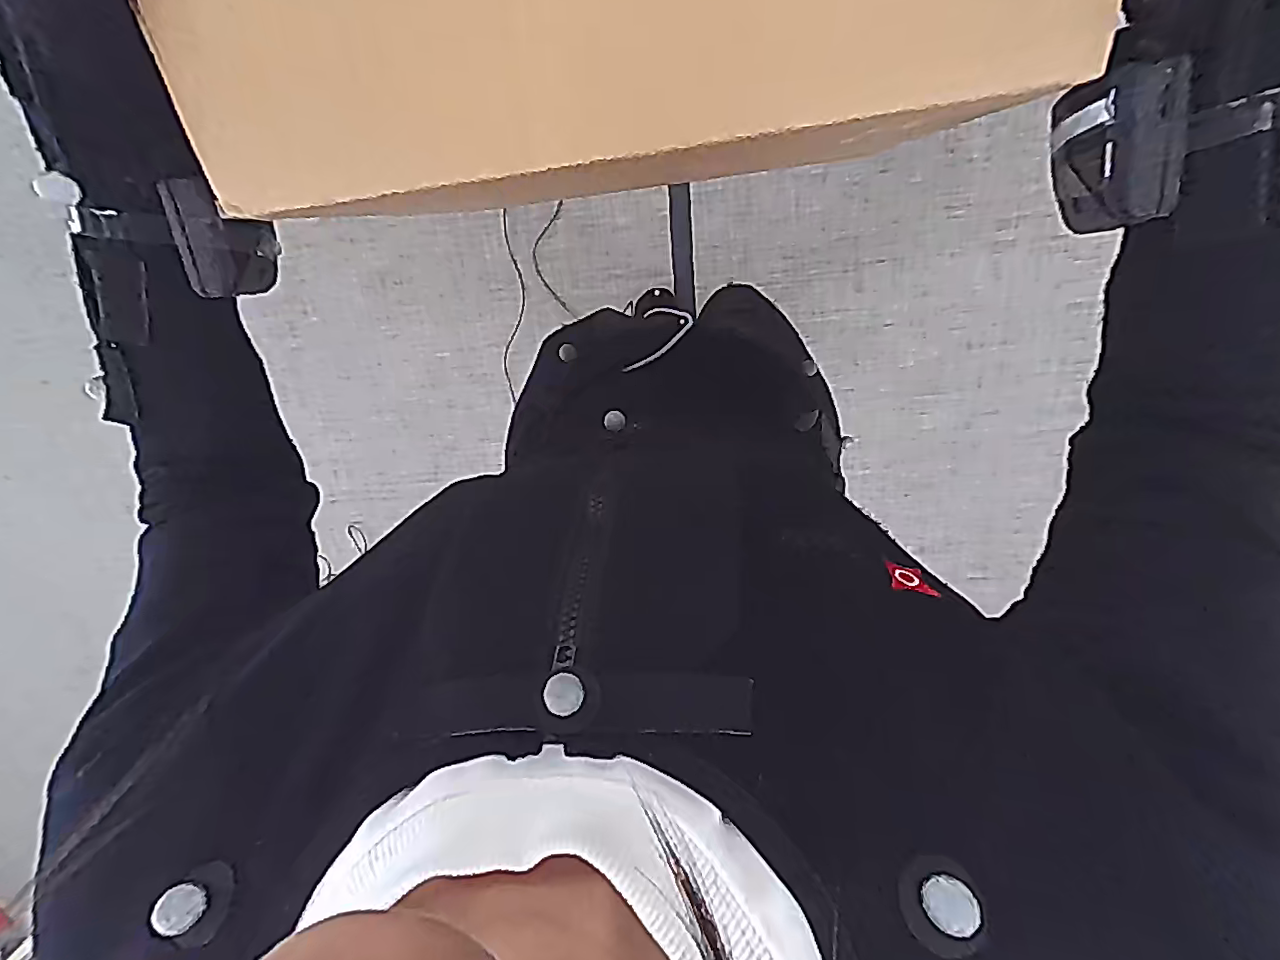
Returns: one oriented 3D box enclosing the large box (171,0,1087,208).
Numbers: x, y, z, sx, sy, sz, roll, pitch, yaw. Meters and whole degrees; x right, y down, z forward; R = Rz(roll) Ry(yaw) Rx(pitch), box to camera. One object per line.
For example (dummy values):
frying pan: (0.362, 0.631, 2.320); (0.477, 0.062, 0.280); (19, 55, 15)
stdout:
large box: (-0.018, -0.366, 0.326); (0.408, 0.320, 0.320); (-5, 117, 8)
